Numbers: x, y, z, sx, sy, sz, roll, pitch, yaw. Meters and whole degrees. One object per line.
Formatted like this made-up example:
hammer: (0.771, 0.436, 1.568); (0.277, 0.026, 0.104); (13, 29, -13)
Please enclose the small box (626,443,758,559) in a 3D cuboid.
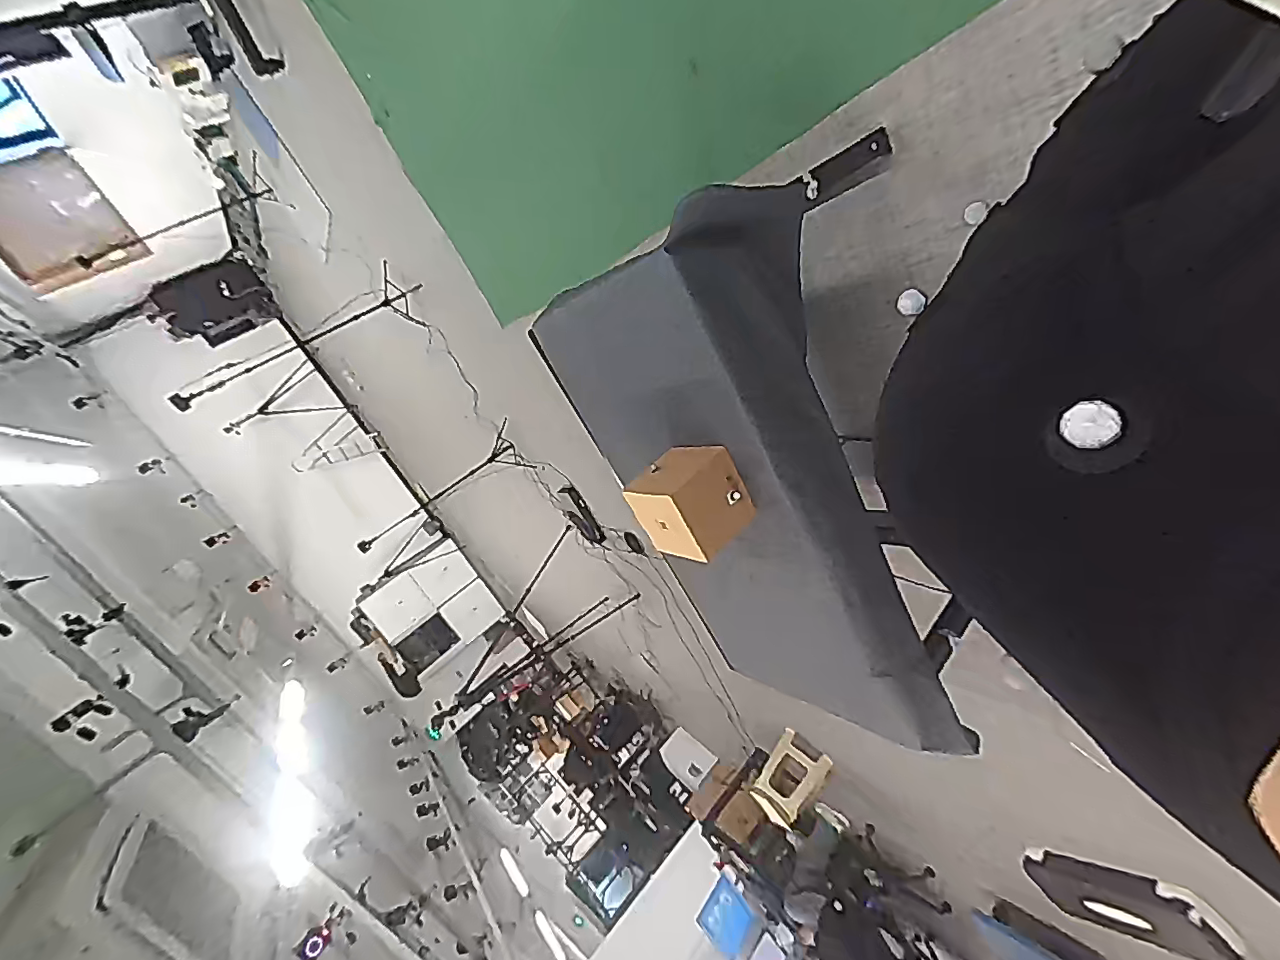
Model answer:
small box: (0.109, 0.036, 1.116); (0.179, 0.176, 0.168); (2, 128, 57)
